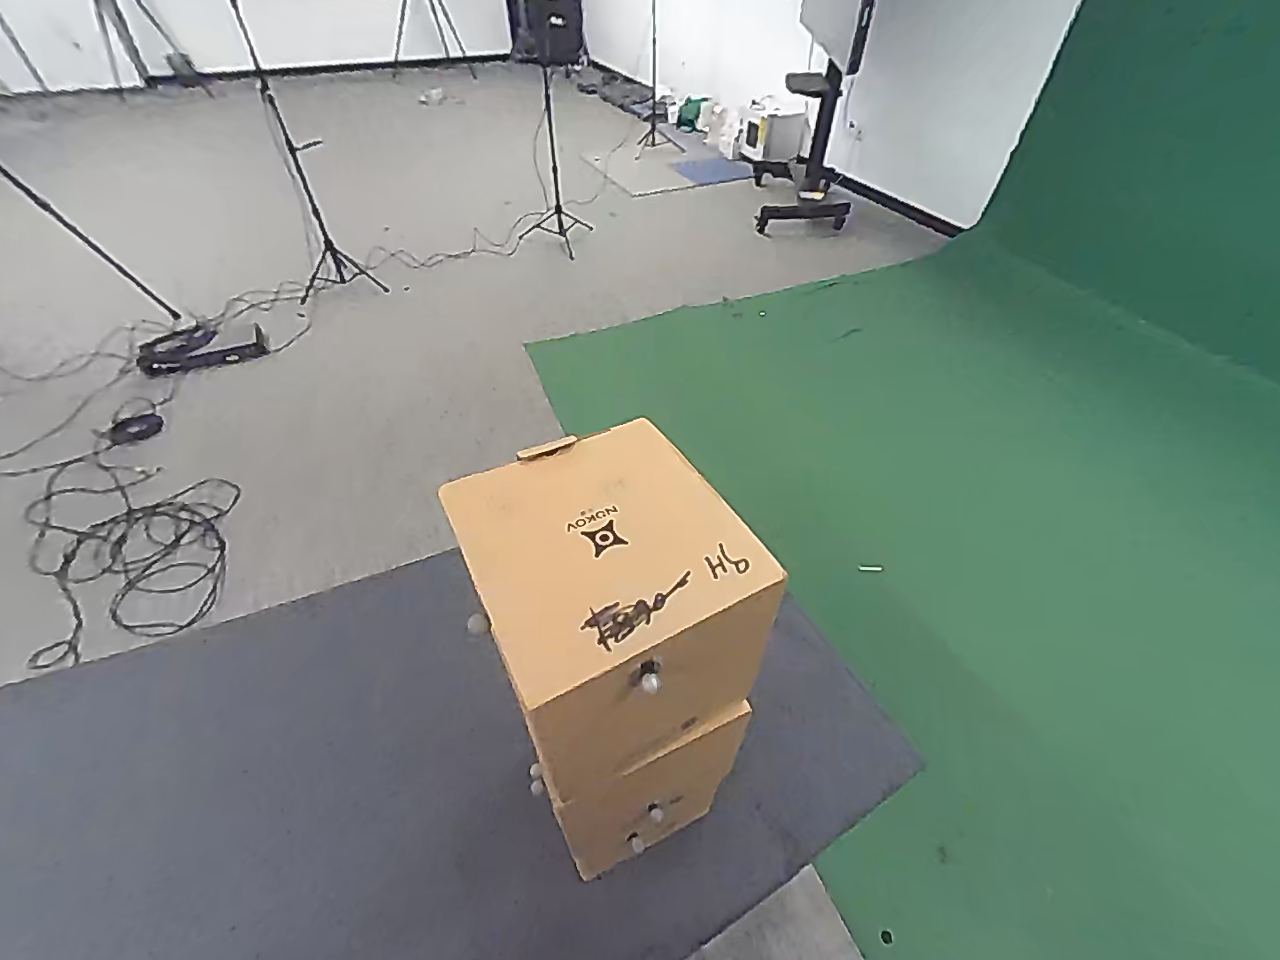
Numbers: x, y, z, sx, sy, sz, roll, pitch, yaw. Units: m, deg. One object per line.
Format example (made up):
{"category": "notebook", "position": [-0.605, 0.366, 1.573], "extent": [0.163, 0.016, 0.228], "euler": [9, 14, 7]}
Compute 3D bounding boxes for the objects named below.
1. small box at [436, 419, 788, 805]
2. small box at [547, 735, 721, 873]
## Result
{"category": "small box", "position": [-0.026, 0.089, 0.389], "extent": [0.168, 0.176, 0.179], "euler": [-22, 49, -20]}
{"category": "small box", "position": [-0.026, 0.319, 0.624], "extent": [0.168, 0.176, 0.179], "euler": [-18, 48, -18]}
